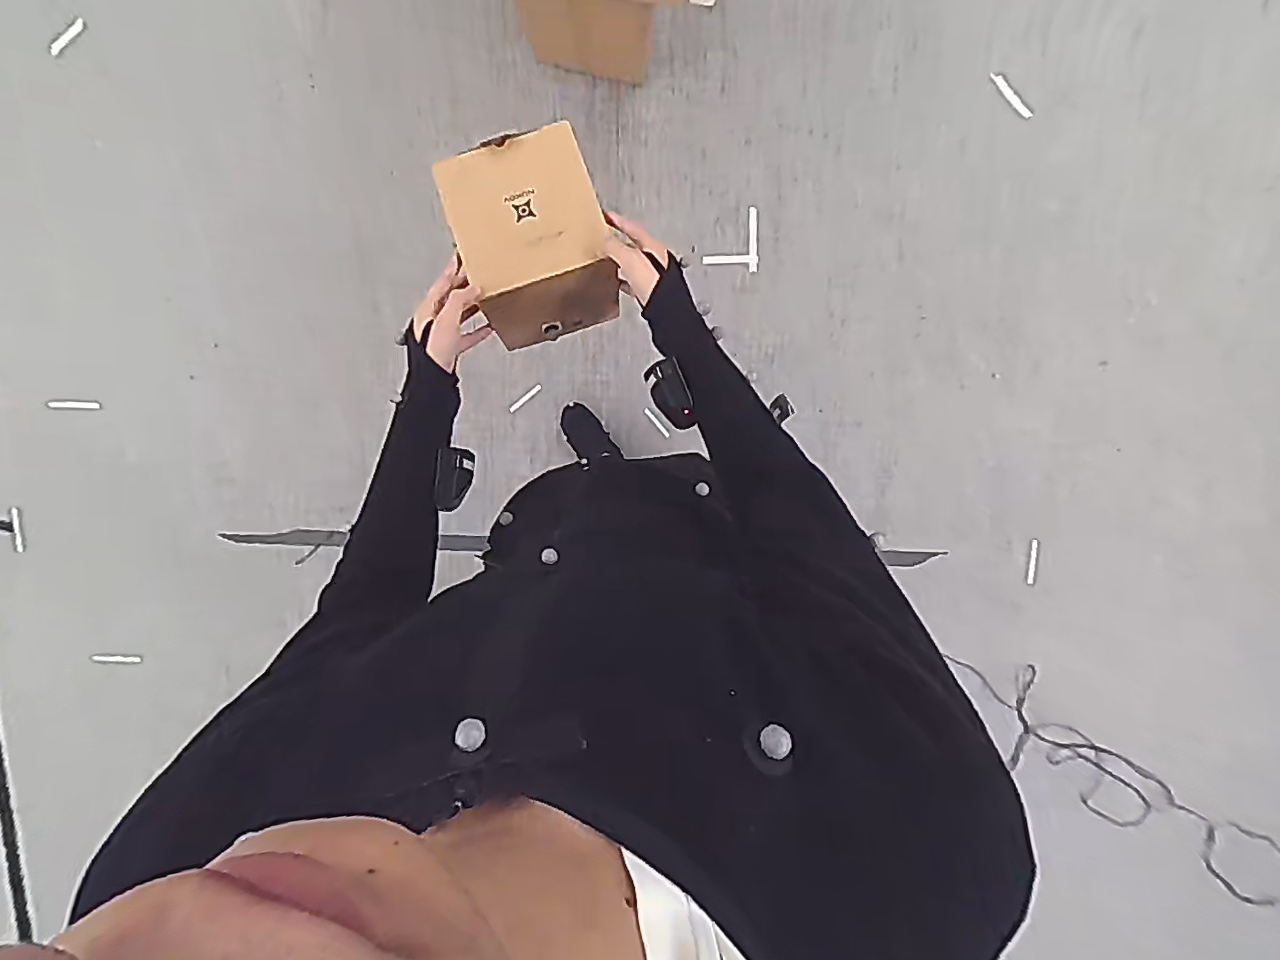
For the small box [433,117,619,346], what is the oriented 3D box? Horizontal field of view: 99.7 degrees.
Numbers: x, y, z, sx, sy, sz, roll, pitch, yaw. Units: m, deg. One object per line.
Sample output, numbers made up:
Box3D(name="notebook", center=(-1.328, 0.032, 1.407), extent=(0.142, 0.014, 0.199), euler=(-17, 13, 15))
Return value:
Box3D(name="small box", center=(-0.130, -0.295, 0.675), extent=(0.168, 0.176, 0.179), euler=(-19, 83, -2))
